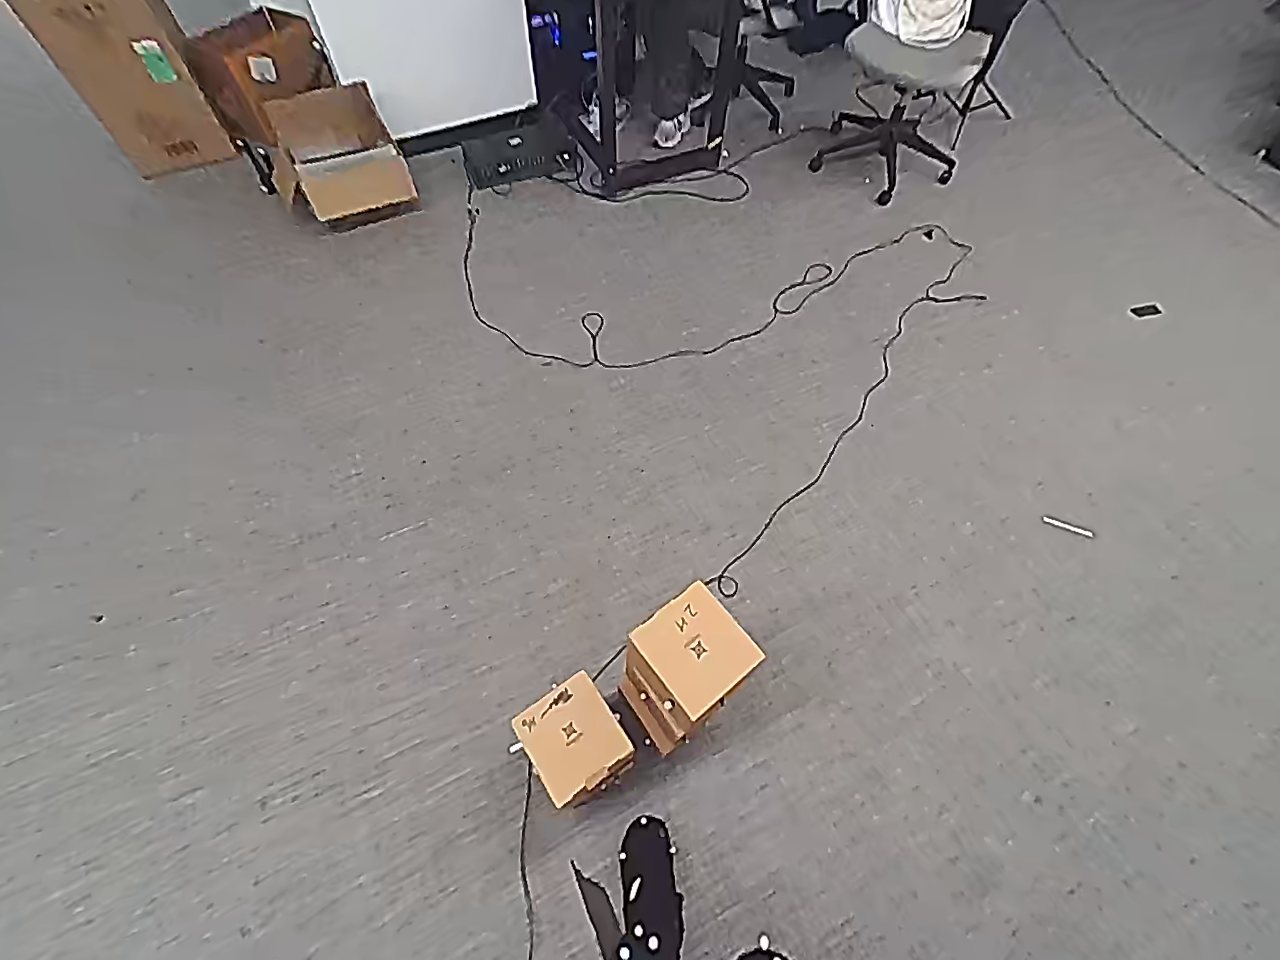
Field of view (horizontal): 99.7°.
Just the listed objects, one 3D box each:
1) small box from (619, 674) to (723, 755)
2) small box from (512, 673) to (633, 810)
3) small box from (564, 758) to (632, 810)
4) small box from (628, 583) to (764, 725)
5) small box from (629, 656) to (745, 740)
[{"bbox_3d":[0.064,0.511,1.256,0.168,0.176,0.179,-32,66,-18],"label":"small box"},{"bbox_3d":[-0.126,0.511,1.062,0.168,0.176,0.179,-31,66,-18],"label":"small box"},{"bbox_3d":[-0.127,0.598,1.202,0.168,0.176,0.179,-27,63,-17],"label":"small box"},{"bbox_3d":[0.094,0.323,0.985,0.168,0.176,0.179,-34,66,-19],"label":"small box"},{"bbox_3d":[0.087,0.414,1.123,0.168,0.176,0.179,-31,66,-17],"label":"small box"}]
